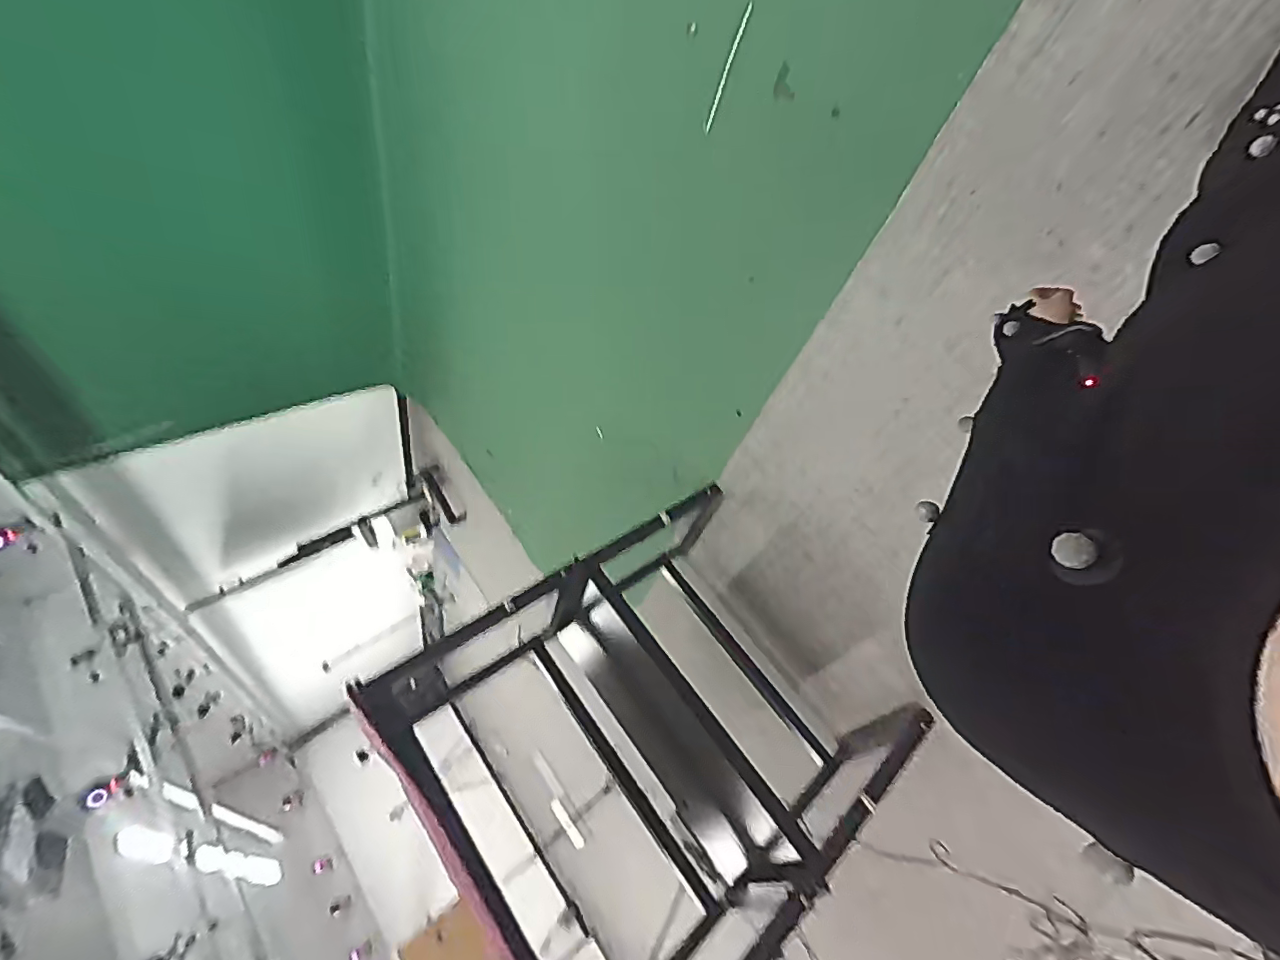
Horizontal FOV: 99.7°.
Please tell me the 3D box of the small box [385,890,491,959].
[{"bbox_3d":[-0.472,1.103,1.268,0.179,0.176,0.168,48,143,20],"label":"small box"}]
